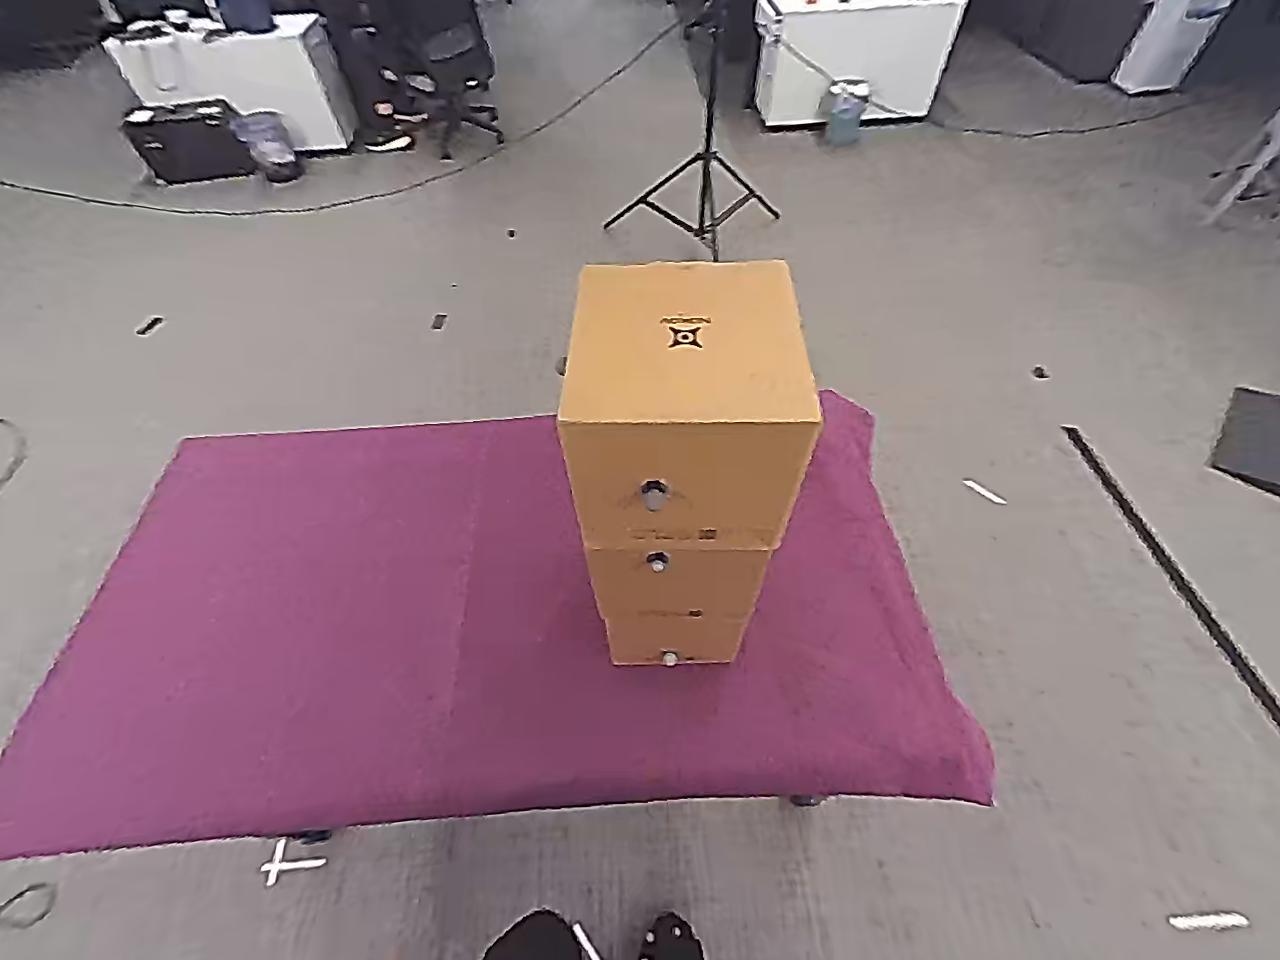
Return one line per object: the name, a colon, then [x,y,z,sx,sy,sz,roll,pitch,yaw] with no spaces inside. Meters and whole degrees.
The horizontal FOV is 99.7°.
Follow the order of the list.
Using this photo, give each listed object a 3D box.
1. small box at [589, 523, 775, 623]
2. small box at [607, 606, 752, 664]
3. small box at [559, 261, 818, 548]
small box: [0.041,0.037,0.583,0.168,0.176,0.179,0,53,3]
small box: [0.046,0.131,0.717,0.168,0.176,0.179,-2,54,1]
small box: [0.037,-0.055,0.447,0.168,0.176,0.179,-1,53,3]
